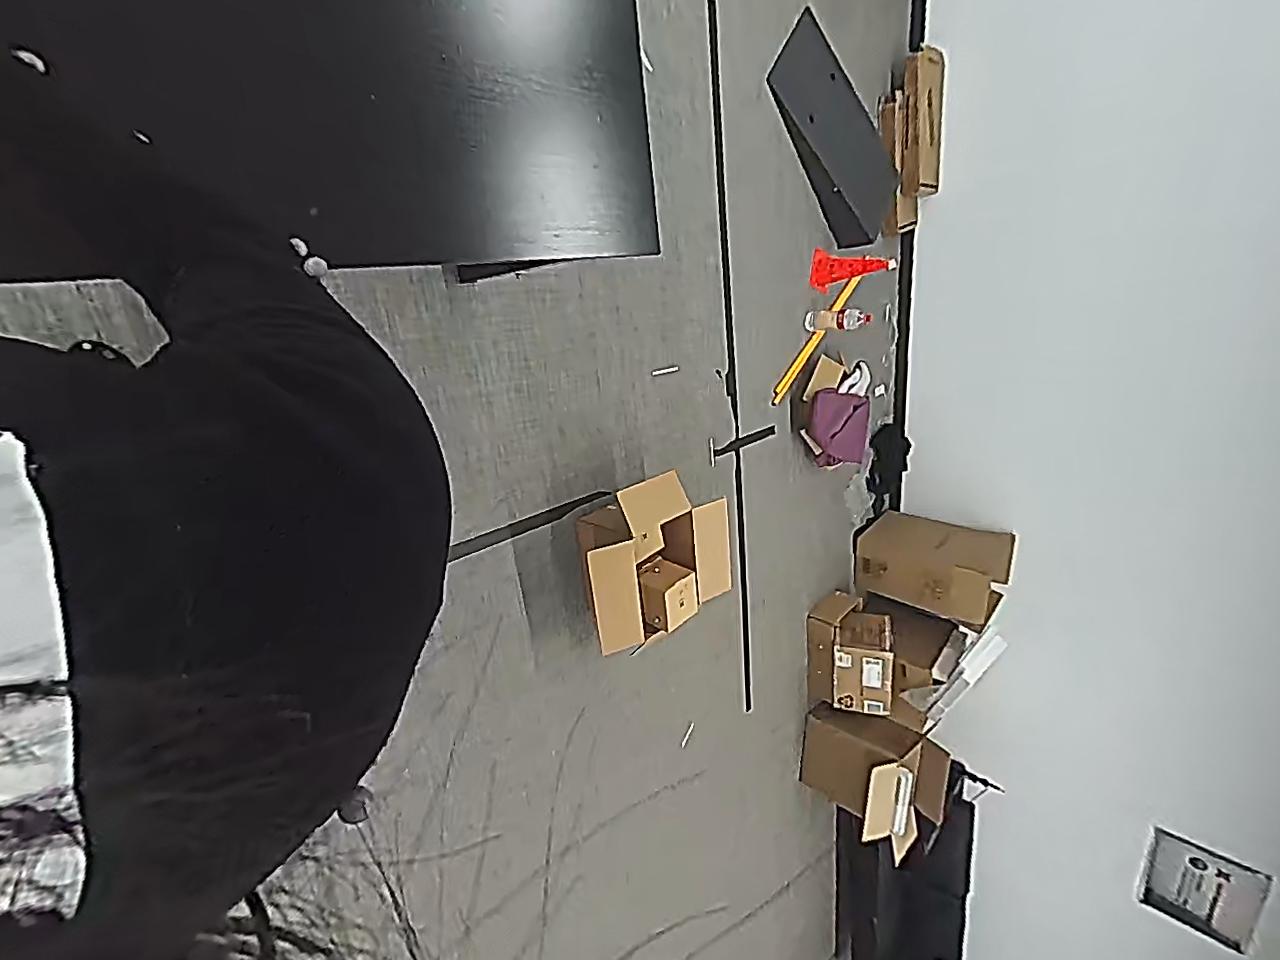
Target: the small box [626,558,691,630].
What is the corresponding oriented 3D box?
[{"bbox_3d":[0.068,0.411,1.982,0.168,0.176,0.179,-26,118,-40],"label":"small box"}]
